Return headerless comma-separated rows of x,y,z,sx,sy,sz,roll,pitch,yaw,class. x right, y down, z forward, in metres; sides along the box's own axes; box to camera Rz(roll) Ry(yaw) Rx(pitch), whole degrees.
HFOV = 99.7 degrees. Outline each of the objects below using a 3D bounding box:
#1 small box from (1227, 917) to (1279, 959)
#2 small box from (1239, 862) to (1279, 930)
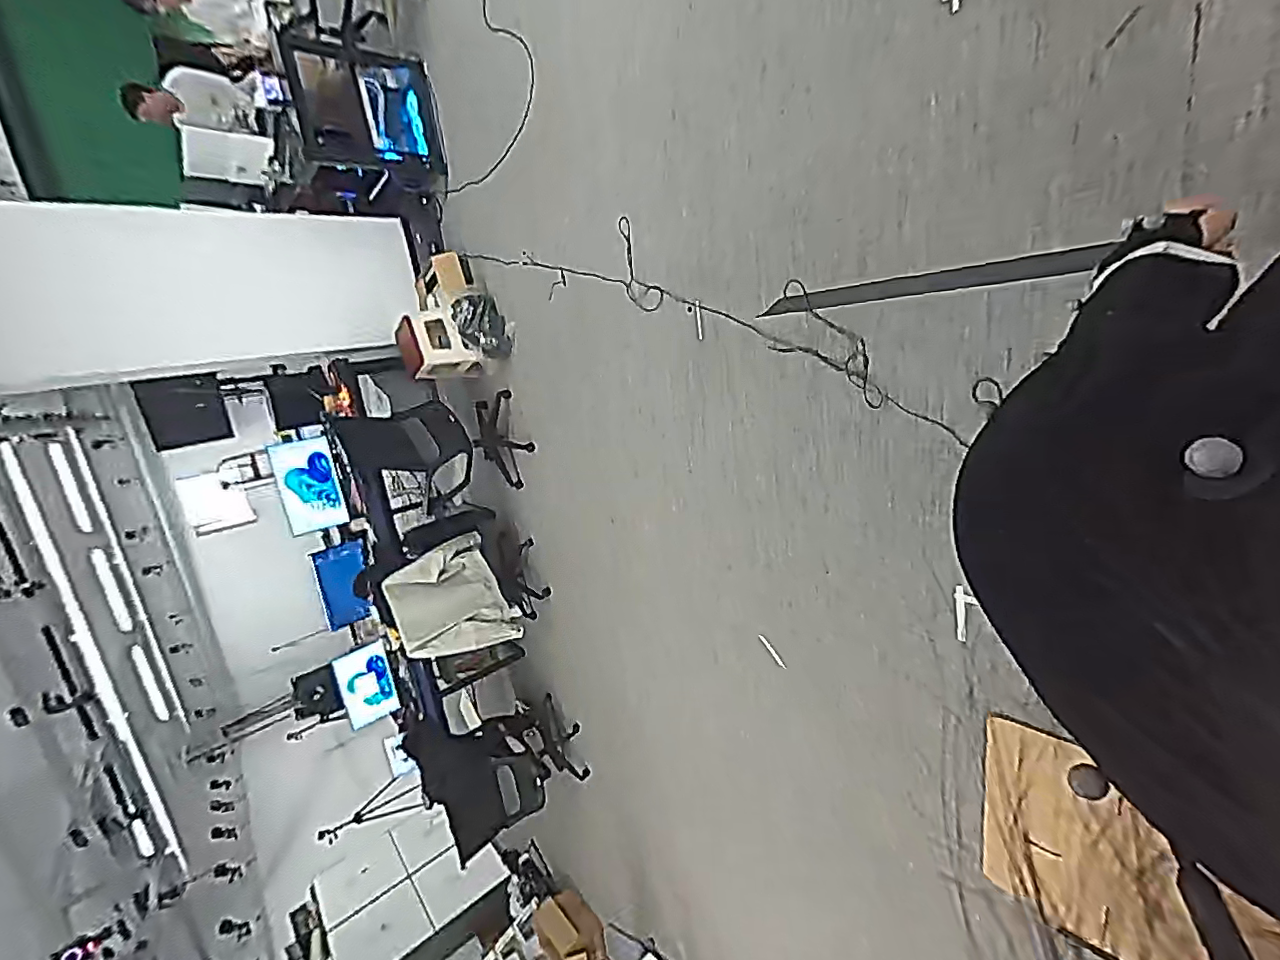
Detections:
1.208,0.969,0.984,0.168,0.176,0.179,-12,96,51,small box
1.335,0.920,1.077,0.168,0.176,0.179,-12,95,52,small box
